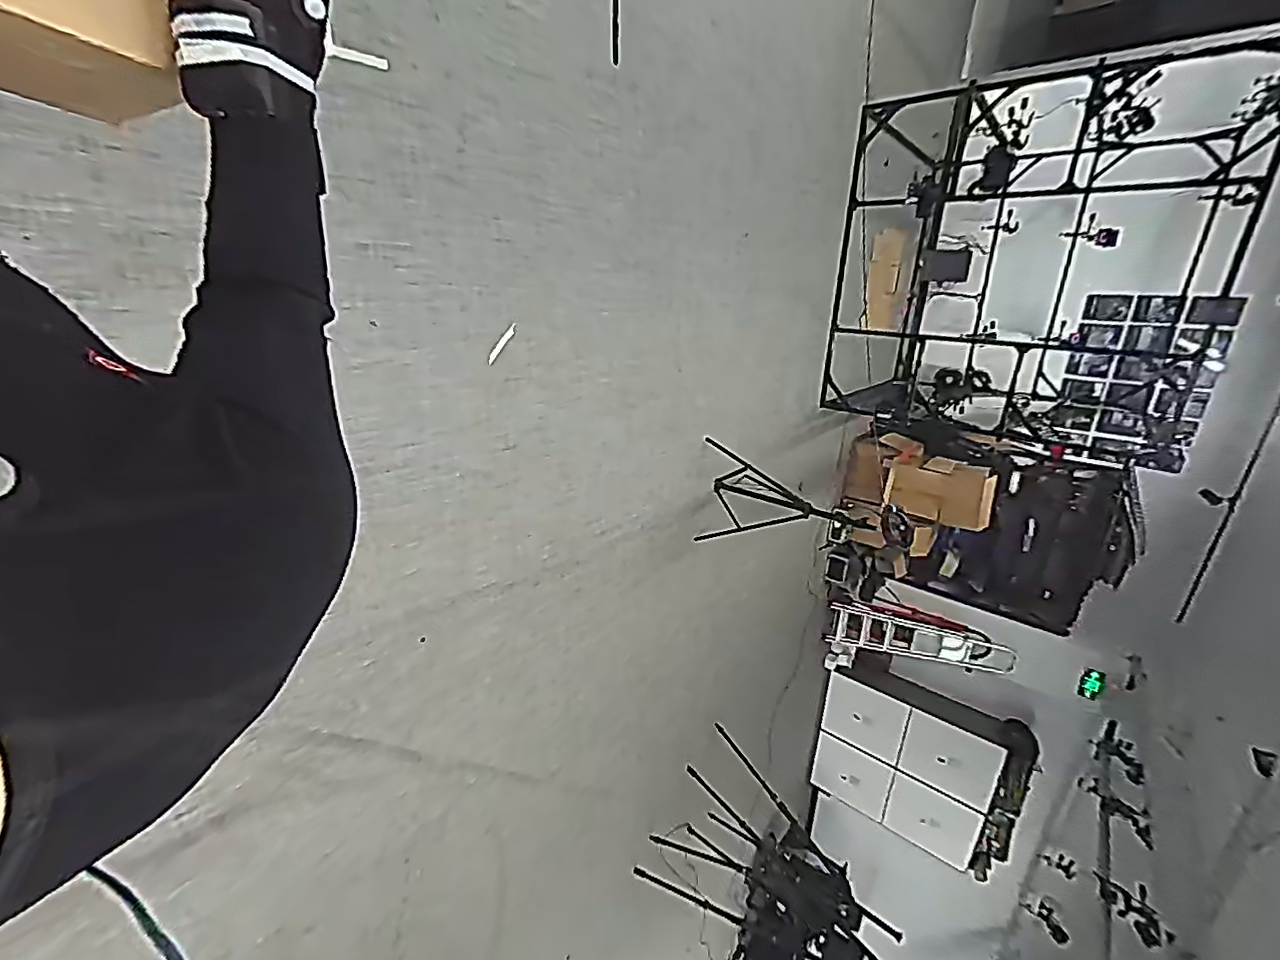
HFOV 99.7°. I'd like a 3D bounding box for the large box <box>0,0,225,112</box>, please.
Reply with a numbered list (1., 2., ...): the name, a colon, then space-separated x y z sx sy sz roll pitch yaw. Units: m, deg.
1. large box: -0.510 -0.450 0.272 0.408 0.320 0.320 -10 115 -54
